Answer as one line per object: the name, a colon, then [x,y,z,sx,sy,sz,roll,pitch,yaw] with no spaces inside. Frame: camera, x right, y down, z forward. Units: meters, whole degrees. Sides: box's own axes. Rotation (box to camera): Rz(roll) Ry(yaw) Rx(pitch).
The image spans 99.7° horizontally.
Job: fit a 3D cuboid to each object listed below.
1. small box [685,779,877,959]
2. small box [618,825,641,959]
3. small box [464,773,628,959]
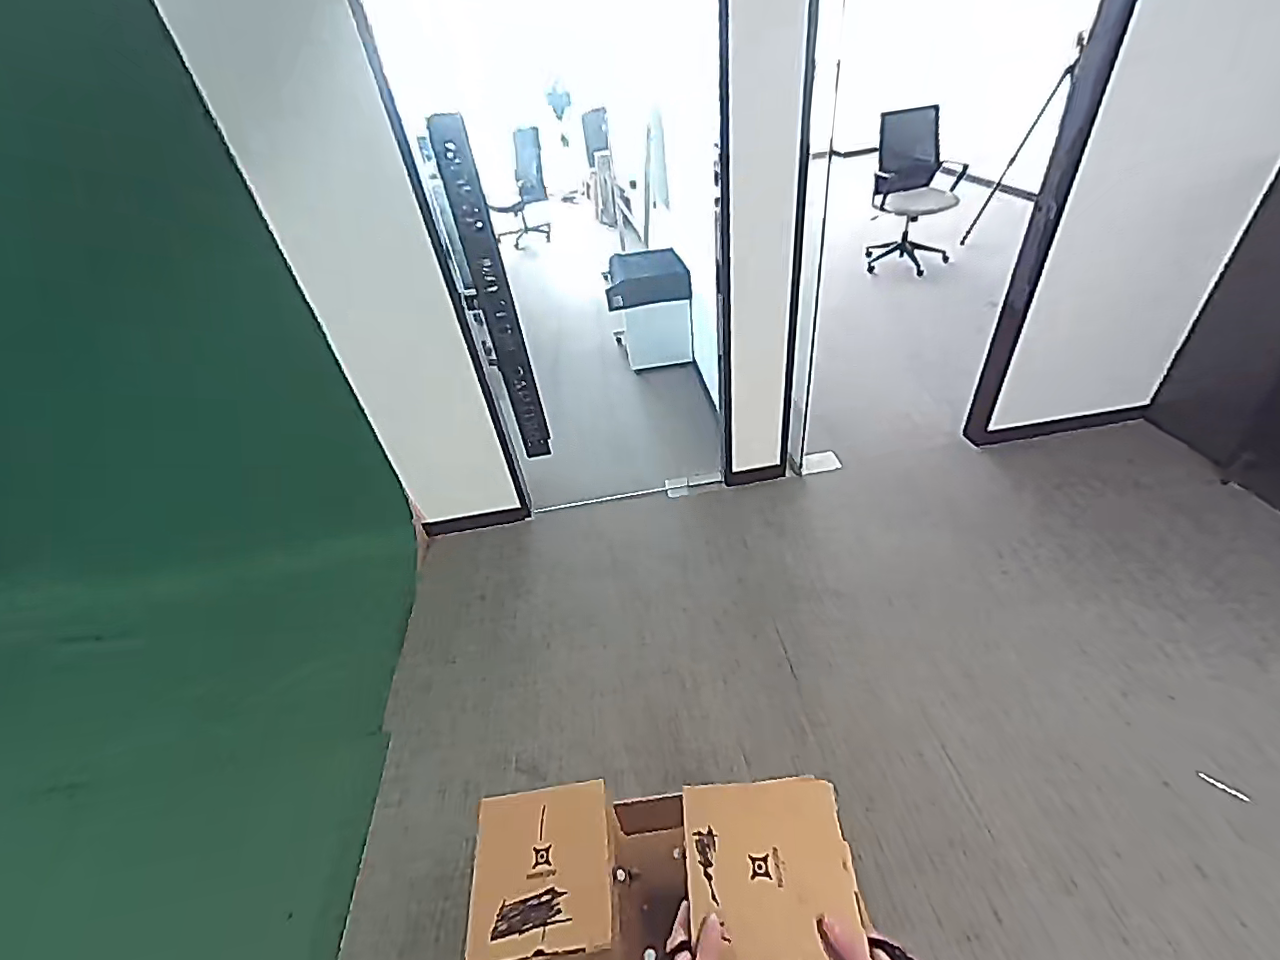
small box: [0.144,0.459,0.624,0.179,0.176,0.168,-3,46,3]
small box: [-0.090,0.643,0.793,0.168,0.176,0.179,-8,39,0]
small box: [-0.110,0.512,0.695,0.168,0.176,0.179,-8,38,-2]
